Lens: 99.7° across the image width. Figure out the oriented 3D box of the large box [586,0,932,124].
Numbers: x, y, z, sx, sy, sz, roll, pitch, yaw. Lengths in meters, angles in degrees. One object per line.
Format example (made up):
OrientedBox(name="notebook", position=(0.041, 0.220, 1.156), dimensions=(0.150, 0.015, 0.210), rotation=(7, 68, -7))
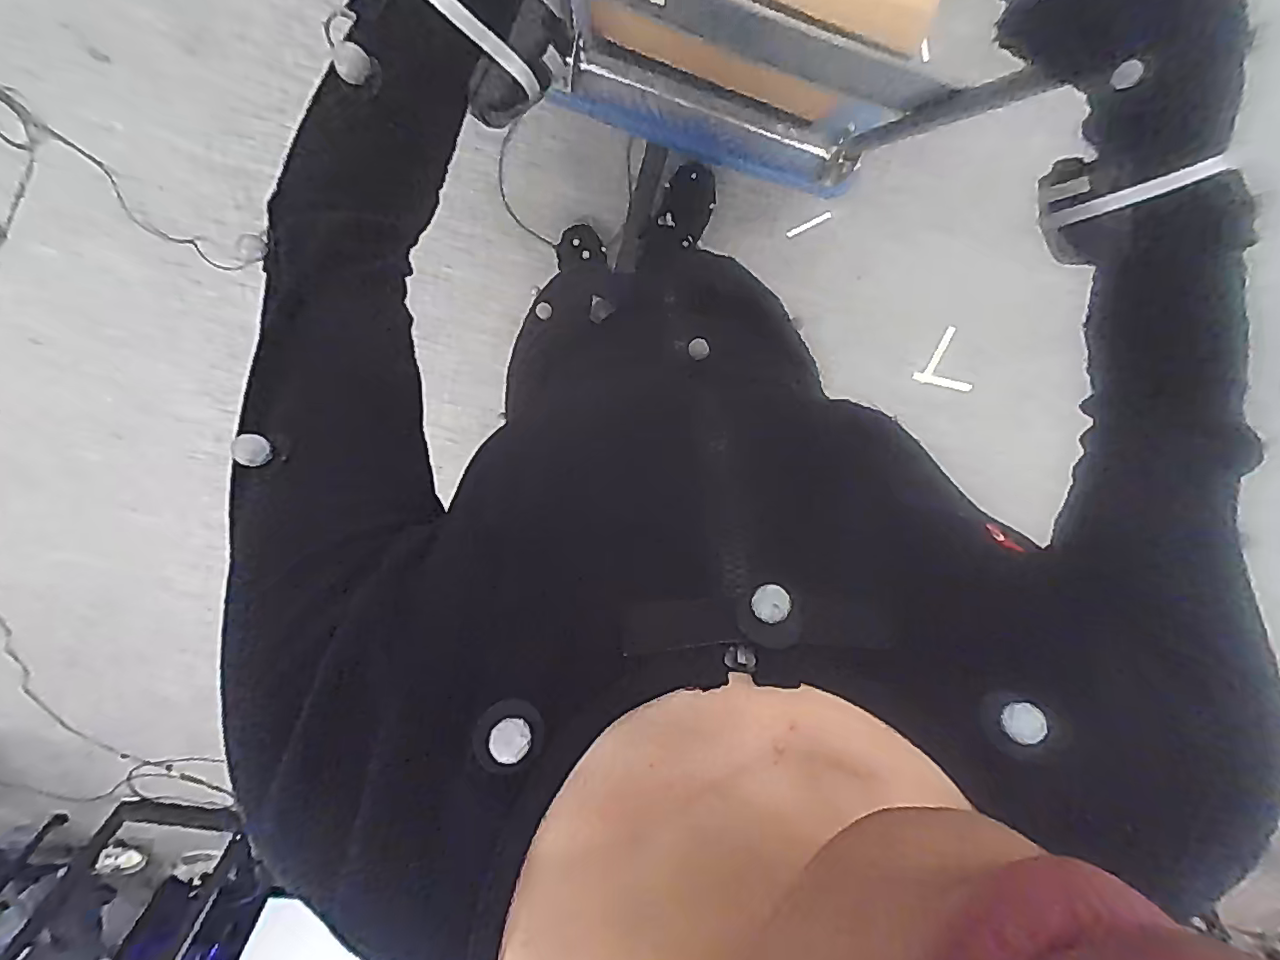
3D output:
OrientedBox(name="large box", position=(0.157, -0.729, 0.699), dimensions=(0.408, 0.320, 0.320), rotation=(13, 110, -11))
